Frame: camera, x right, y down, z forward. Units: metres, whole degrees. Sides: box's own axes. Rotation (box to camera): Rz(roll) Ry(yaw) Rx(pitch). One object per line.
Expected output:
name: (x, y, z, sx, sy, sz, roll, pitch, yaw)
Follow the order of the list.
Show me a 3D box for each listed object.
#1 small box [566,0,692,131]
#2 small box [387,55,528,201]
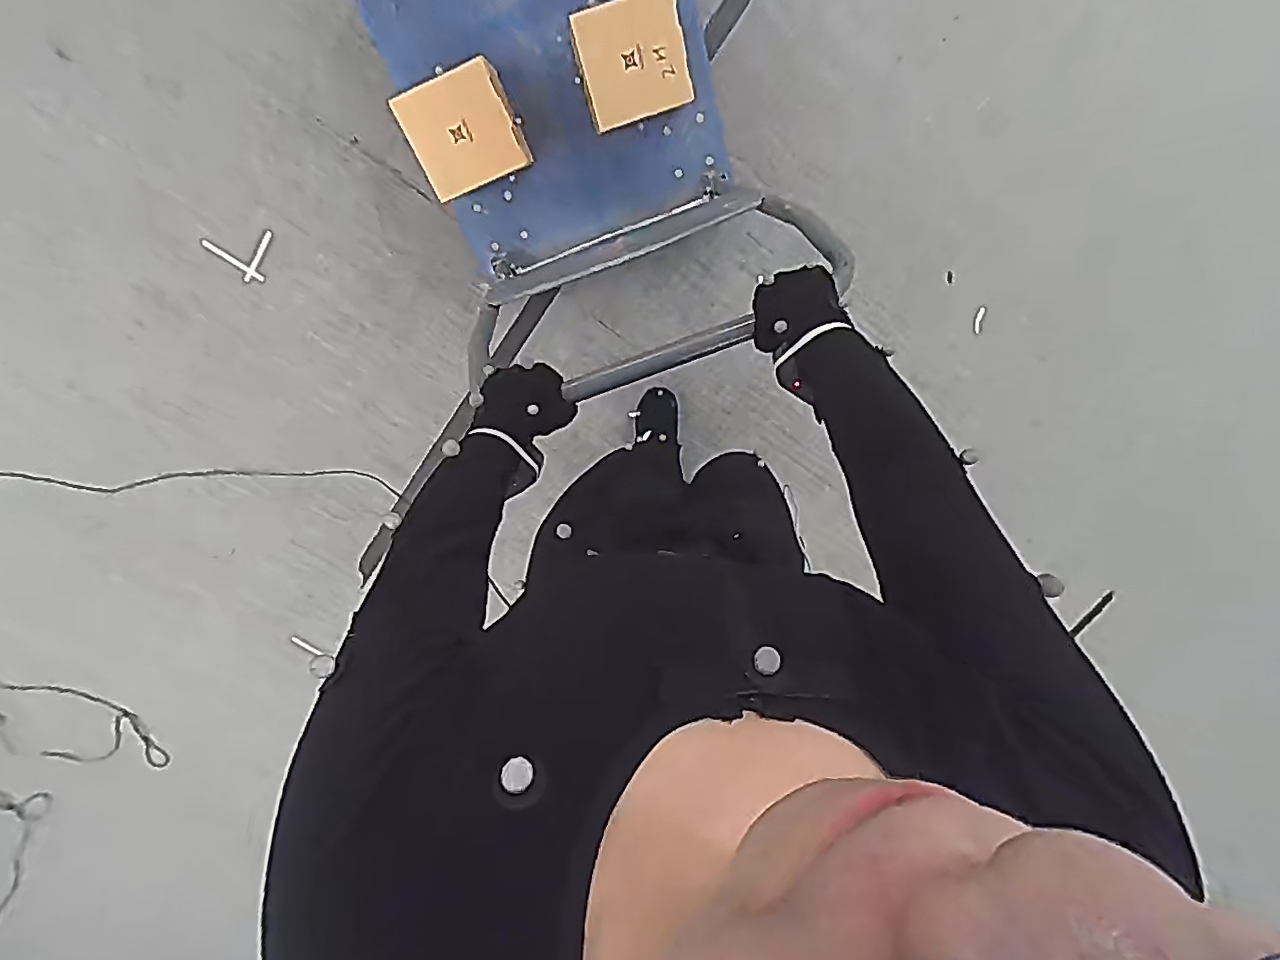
small box: (-0.022, -0.740, 0.962, 0.179, 0.176, 0.168, -17, 122, 3)
small box: (-0.319, -0.632, 0.988, 0.179, 0.176, 0.168, -23, 121, 5)
